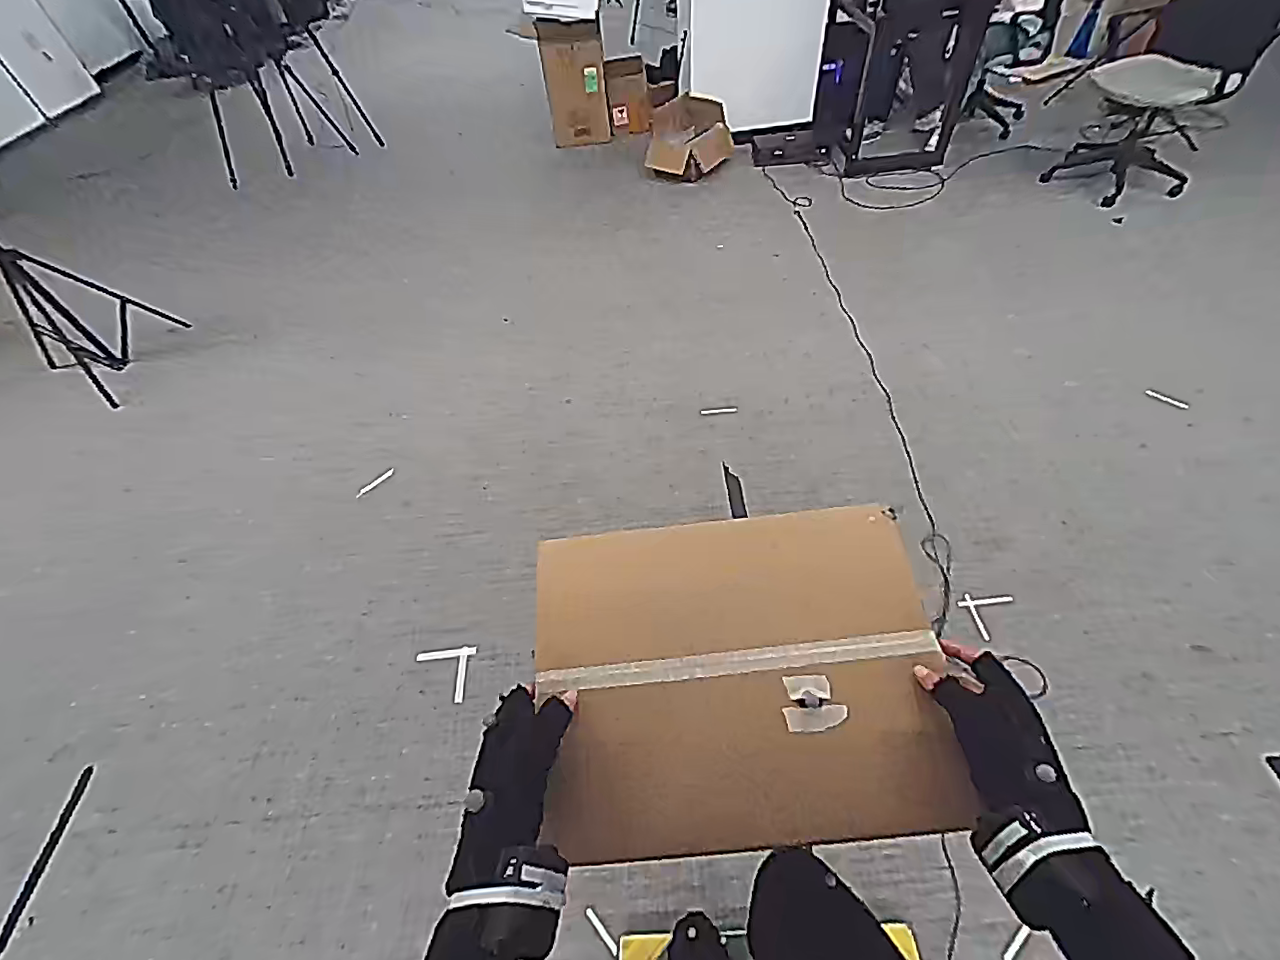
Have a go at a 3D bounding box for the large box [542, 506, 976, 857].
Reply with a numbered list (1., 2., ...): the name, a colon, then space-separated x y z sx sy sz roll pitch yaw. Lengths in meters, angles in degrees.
1. large box: 0.105 0.260 0.693 0.408 0.320 0.320 -7 61 1
